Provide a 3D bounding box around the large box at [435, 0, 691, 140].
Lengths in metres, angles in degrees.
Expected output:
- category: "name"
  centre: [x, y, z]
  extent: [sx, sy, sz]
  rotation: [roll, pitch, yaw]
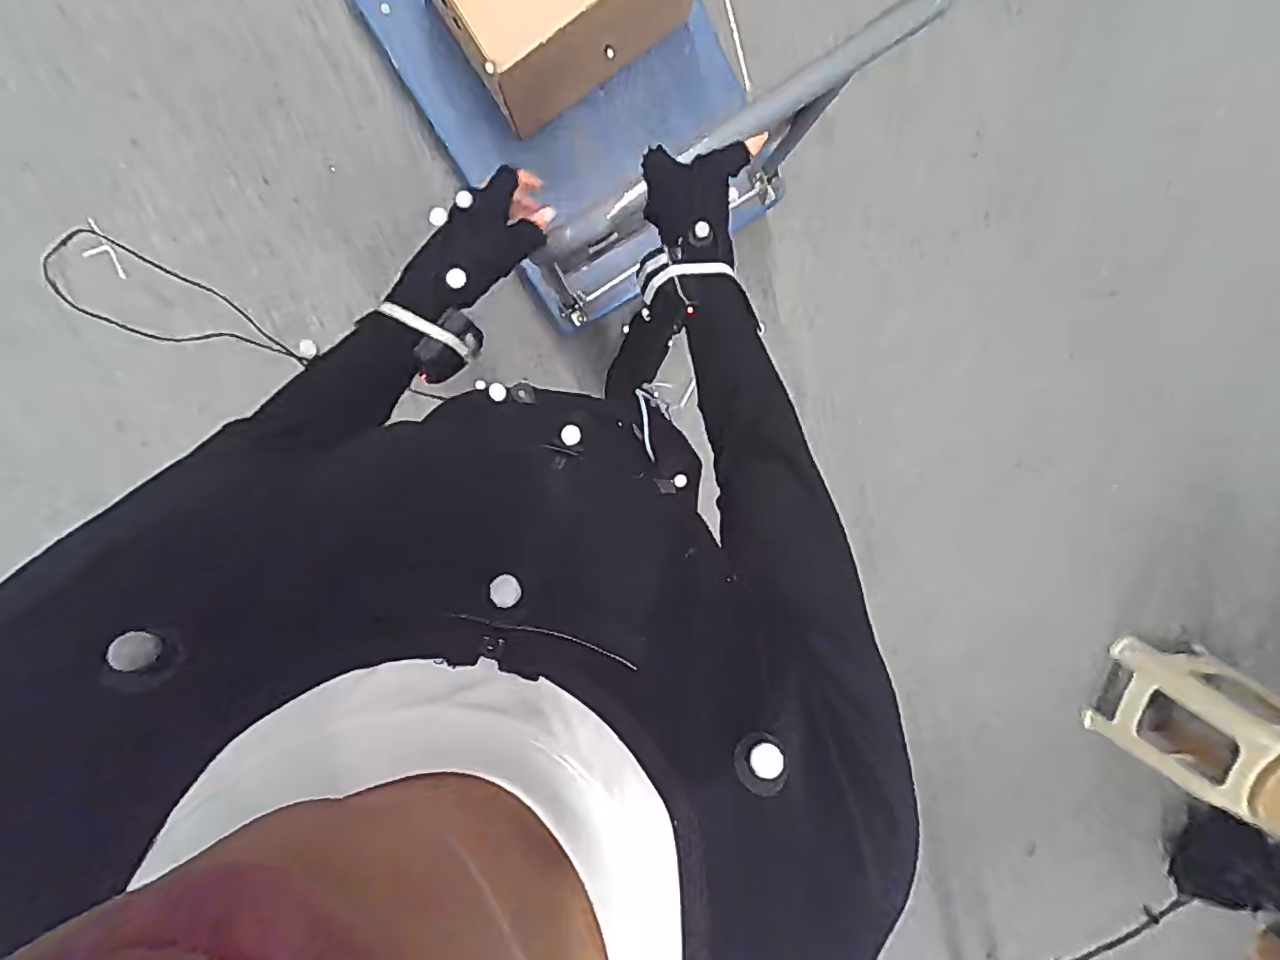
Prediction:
- category: "large box"
  centre: [-0.140, -0.876, 0.906]
  extent: [0.408, 0.320, 0.320]
  rotation: [-33, 105, 6]
